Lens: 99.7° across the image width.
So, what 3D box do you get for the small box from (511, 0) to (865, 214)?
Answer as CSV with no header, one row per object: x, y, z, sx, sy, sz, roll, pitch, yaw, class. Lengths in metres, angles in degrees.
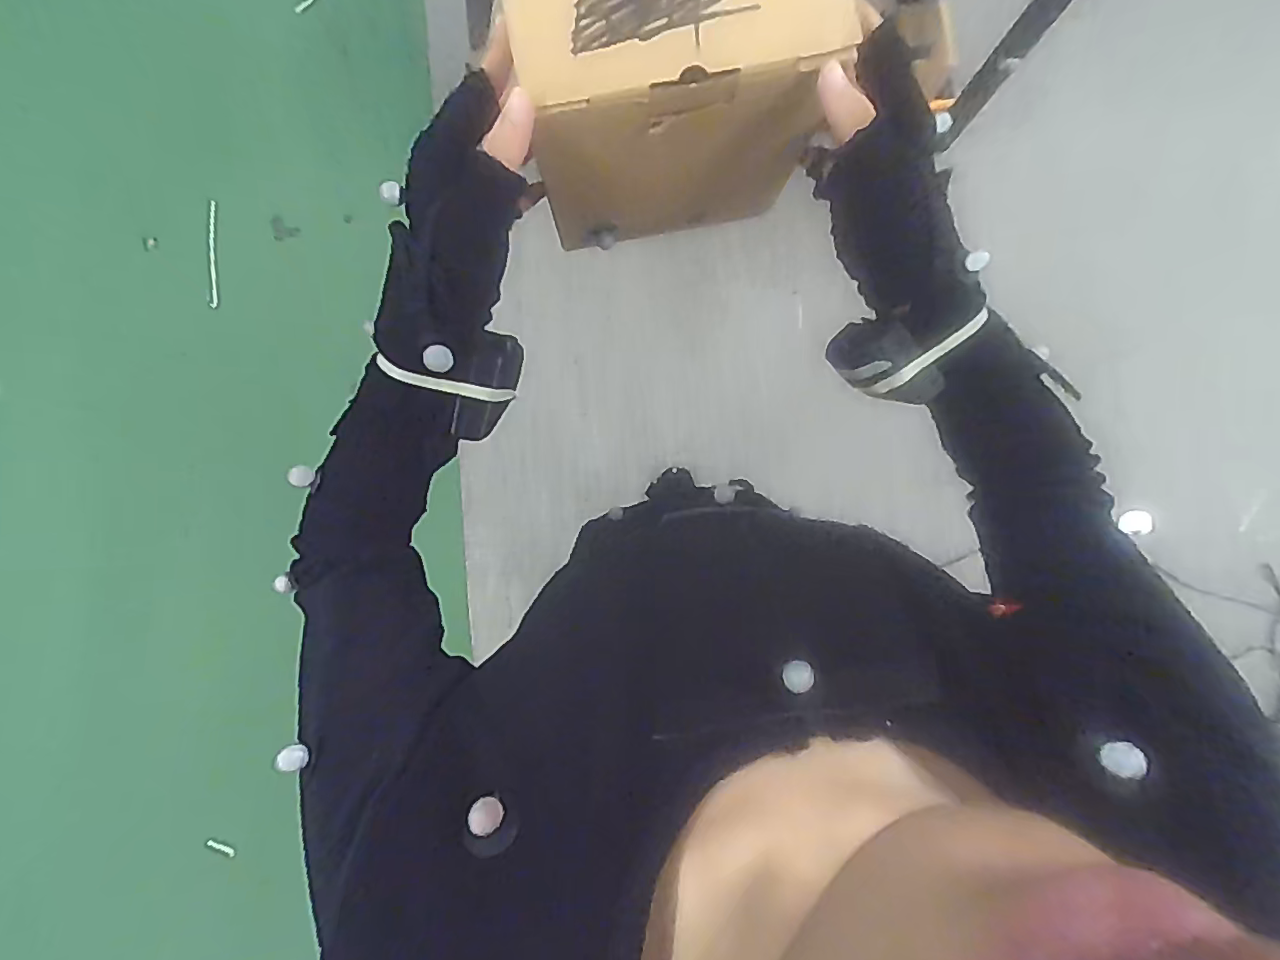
0.010,-0.287,0.329,0.168,0.176,0.179,-11,90,-2,small box
